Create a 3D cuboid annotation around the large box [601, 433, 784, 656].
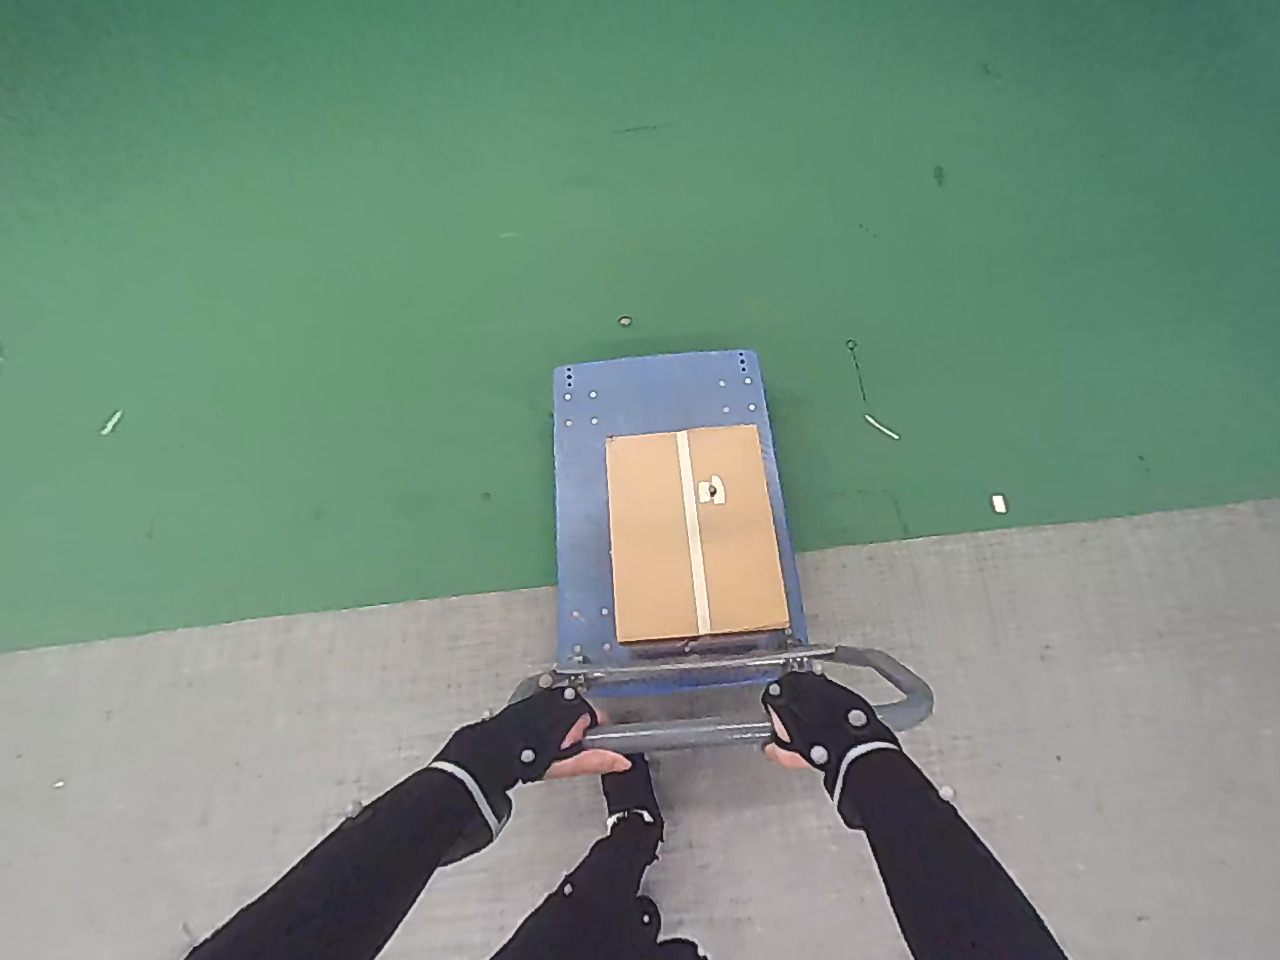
[{"bbox_3d":[0.097,0.155,1.180,0.320,0.320,0.408,-5,69,0],"label":"large box"}]
